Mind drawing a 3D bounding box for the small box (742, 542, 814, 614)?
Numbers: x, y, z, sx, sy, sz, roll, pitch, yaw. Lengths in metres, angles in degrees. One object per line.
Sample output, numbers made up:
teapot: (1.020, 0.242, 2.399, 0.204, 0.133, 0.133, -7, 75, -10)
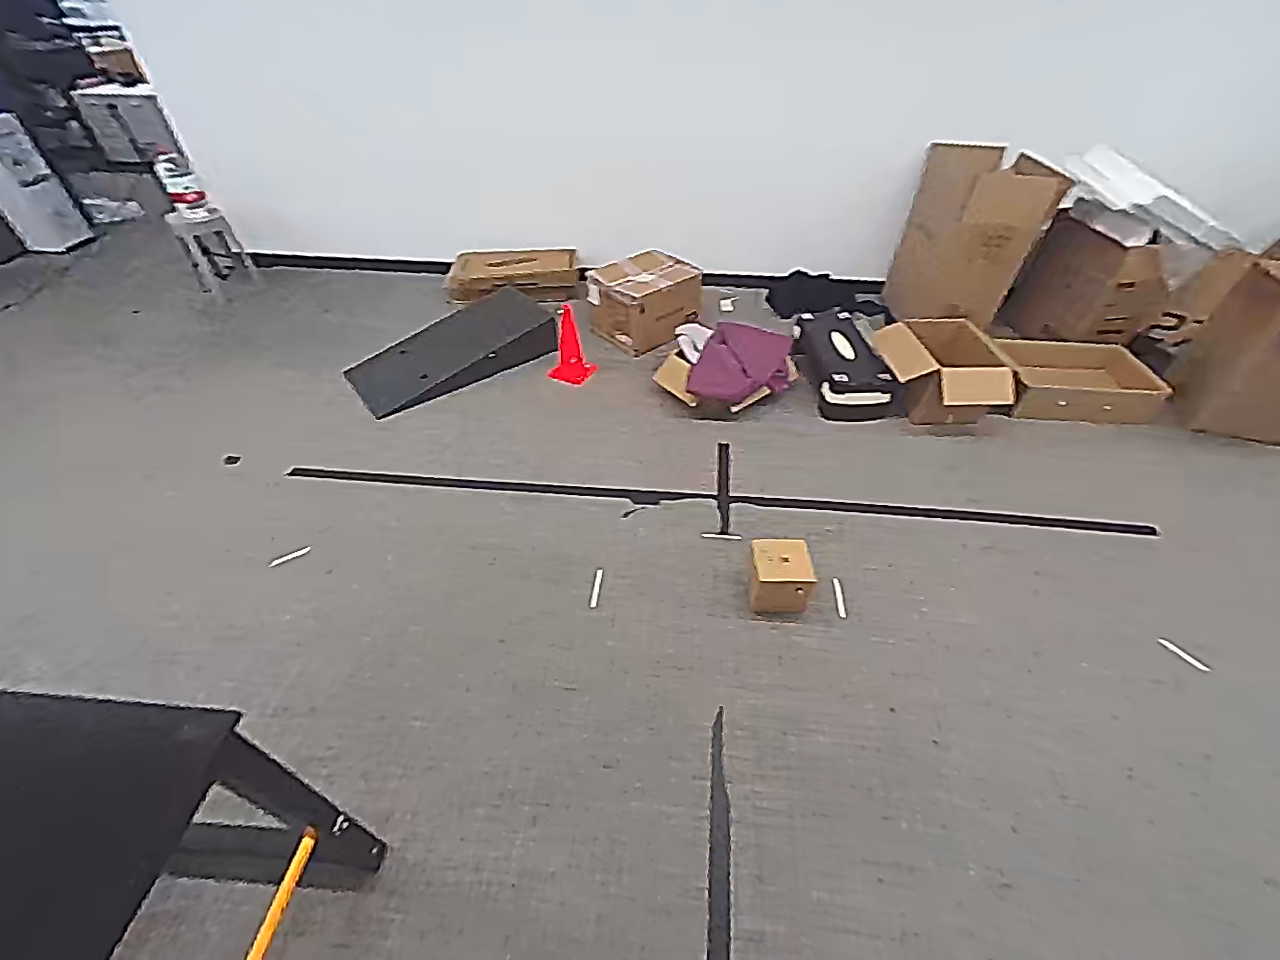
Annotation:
small box: (0.438, 0.318, 1.742, 0.179, 0.176, 0.168, 0, 44, -1)
